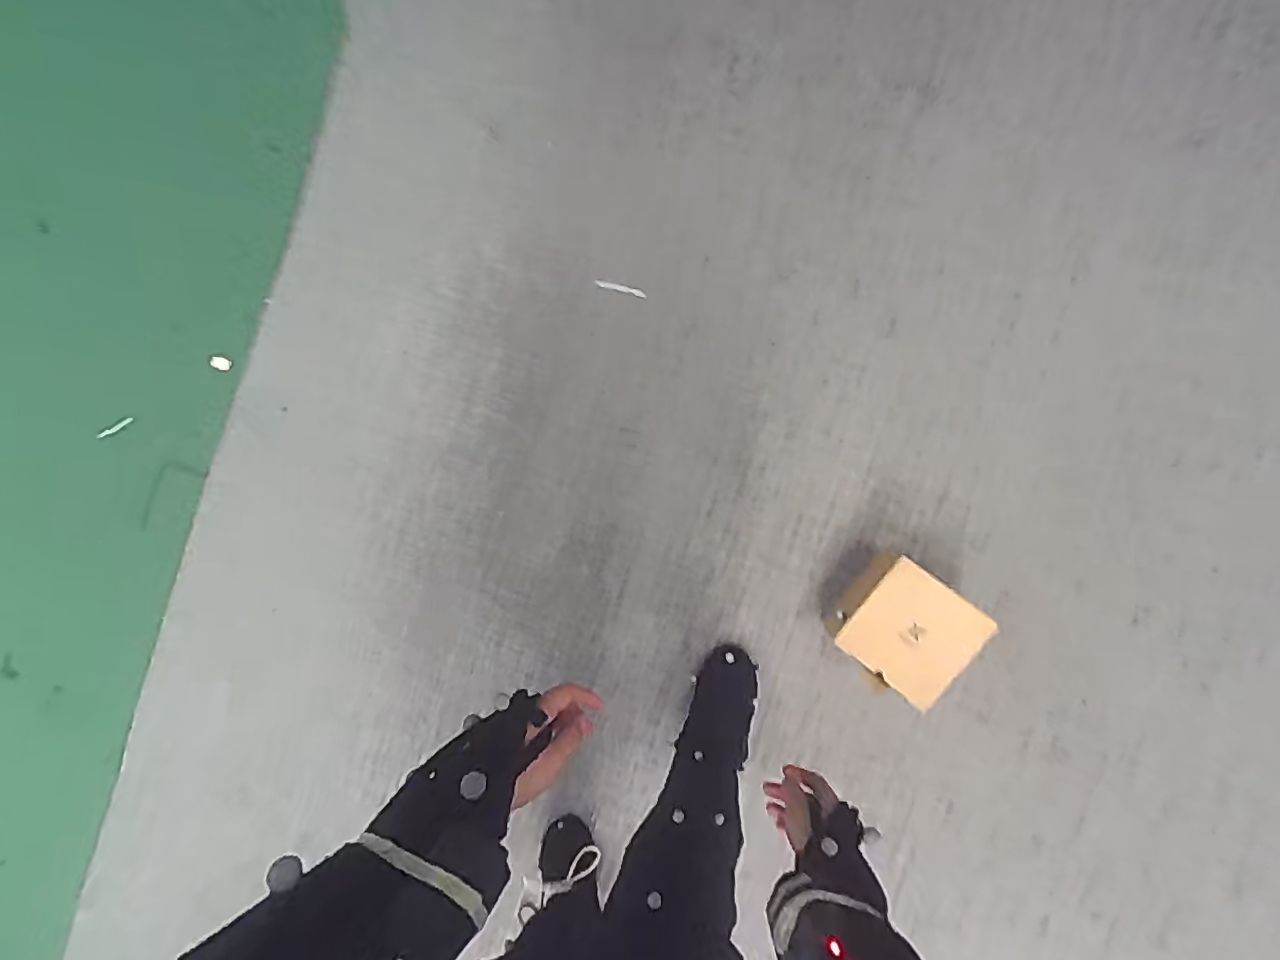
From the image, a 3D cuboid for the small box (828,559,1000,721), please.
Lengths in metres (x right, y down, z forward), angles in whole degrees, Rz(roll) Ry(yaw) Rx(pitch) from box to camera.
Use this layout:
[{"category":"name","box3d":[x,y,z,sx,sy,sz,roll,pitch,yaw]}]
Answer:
[{"category":"small box","box3d":[0.431,0.246,0.888,0.168,0.176,0.179,38,96,12]}]
